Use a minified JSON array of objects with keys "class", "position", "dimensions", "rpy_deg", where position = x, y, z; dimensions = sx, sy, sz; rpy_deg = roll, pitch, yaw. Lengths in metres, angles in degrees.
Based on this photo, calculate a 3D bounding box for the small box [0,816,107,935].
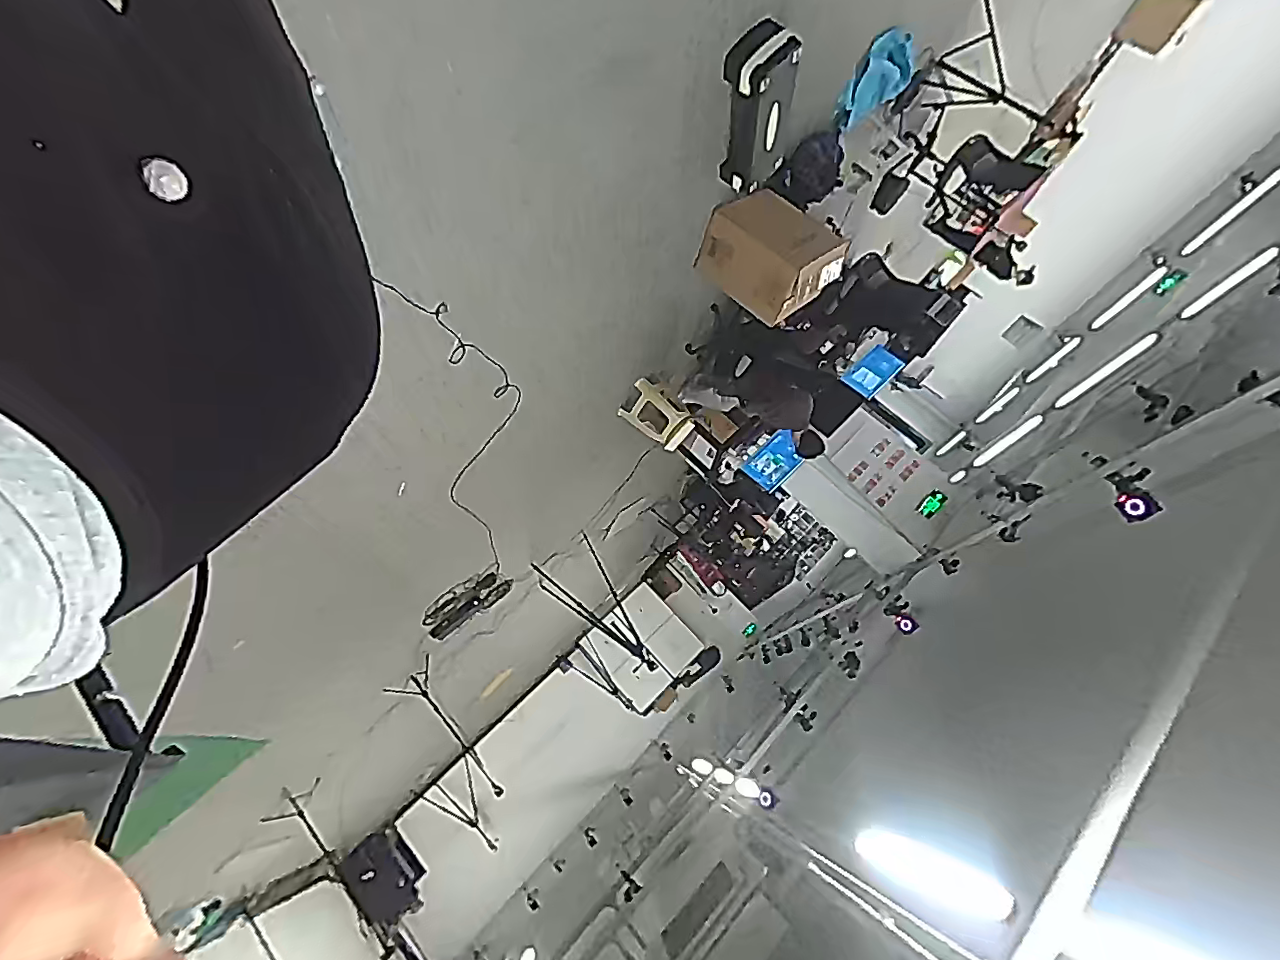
[{"class":"small box","position":[-1.480,0.953,1.310],"dimensions":[0.179,0.176,0.168],"rpy_deg":[-41,163,-10]}]
